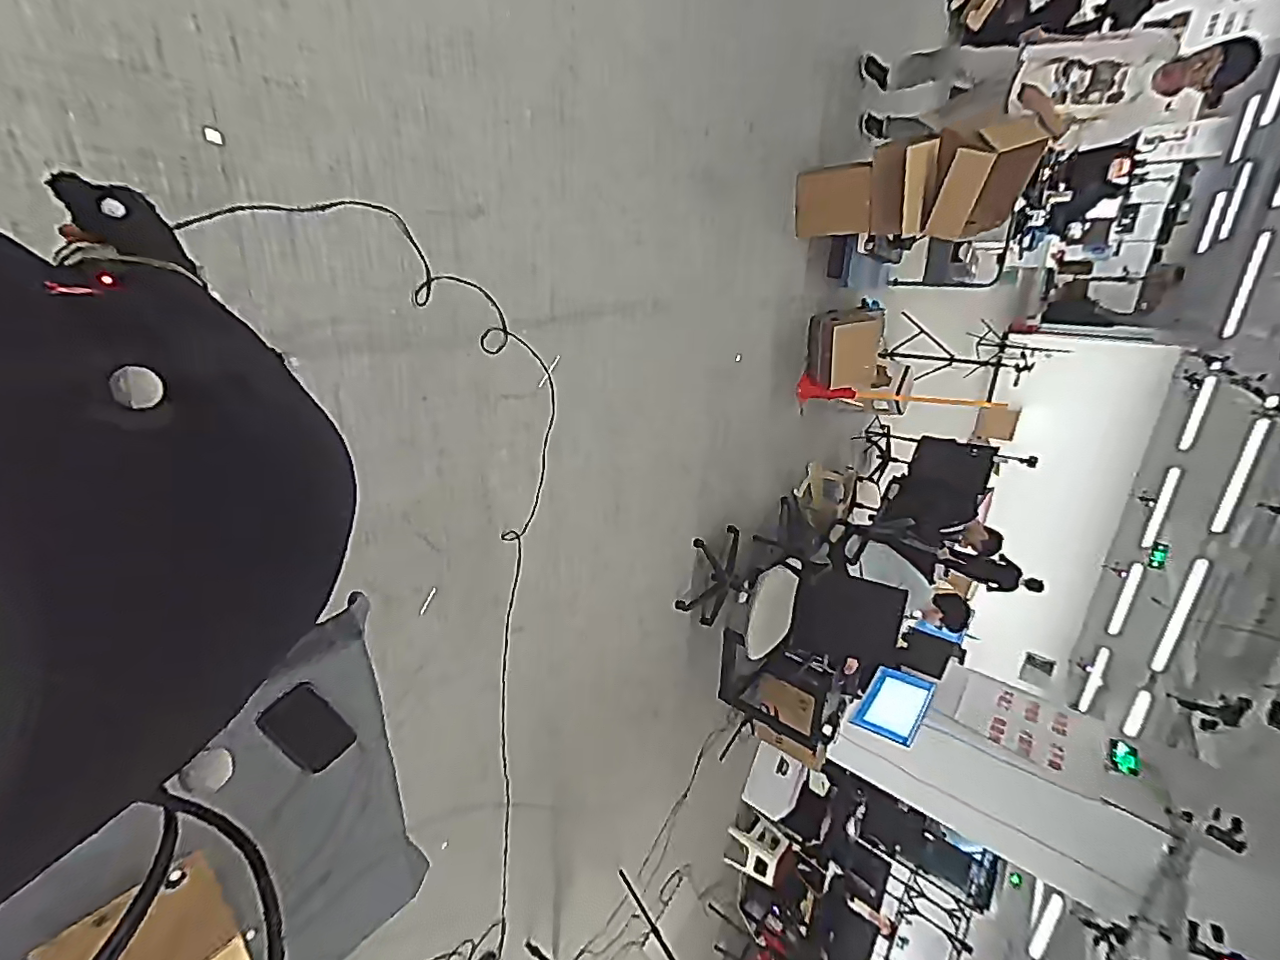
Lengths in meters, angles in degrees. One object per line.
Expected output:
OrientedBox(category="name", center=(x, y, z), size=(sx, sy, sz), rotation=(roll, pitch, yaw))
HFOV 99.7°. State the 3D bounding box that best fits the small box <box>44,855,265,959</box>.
OrientedBox(category="small box", center=(-0.580, 0.612, 0.663), size=(0.168, 0.176, 0.179), rotation=(-24, 123, -46))
